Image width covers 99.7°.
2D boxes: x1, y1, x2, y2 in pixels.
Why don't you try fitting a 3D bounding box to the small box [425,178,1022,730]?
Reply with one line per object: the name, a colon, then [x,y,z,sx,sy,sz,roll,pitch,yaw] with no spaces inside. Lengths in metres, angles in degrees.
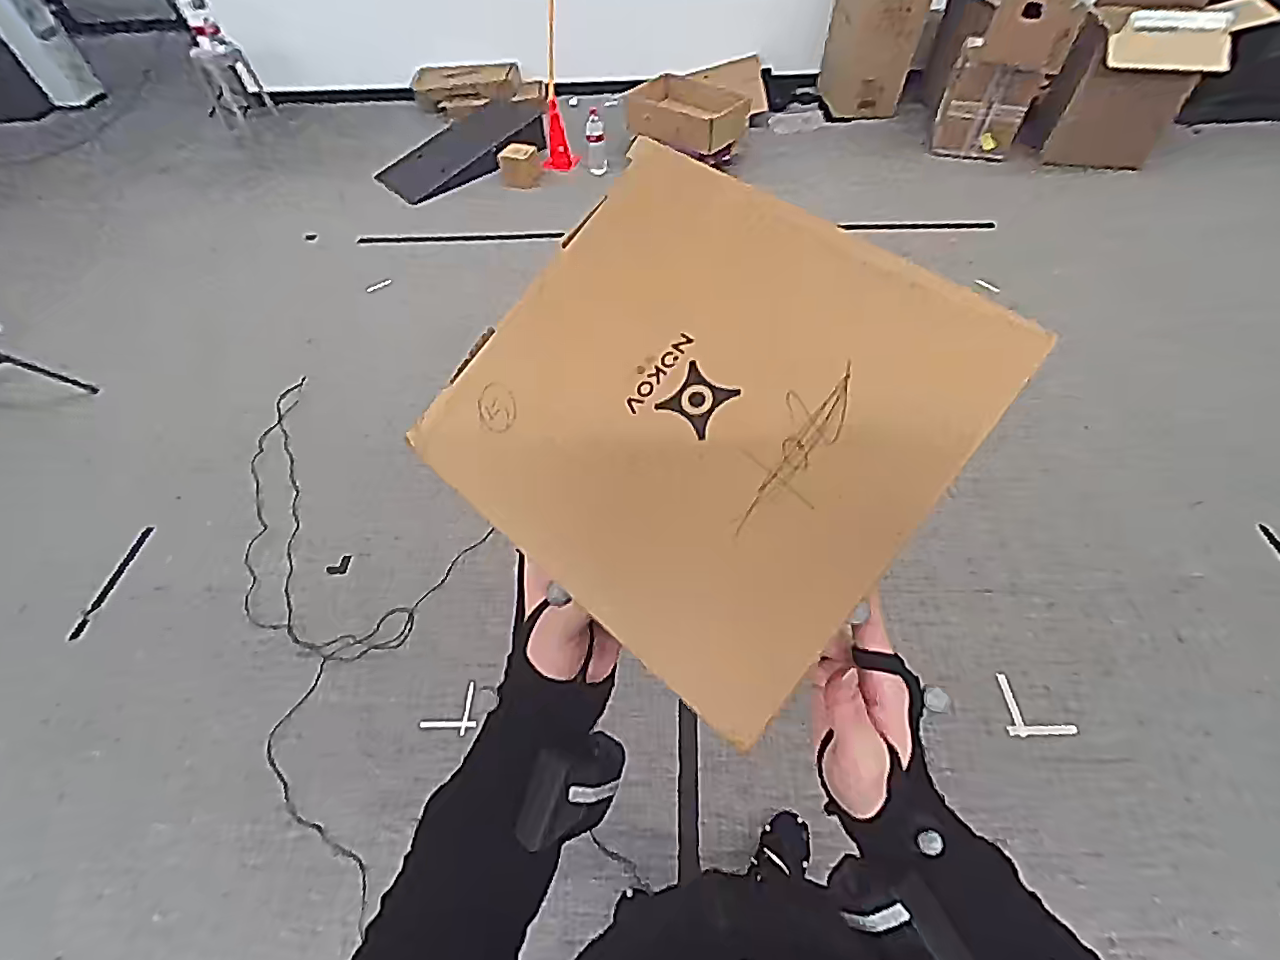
small box: [0.037,-0.006,0.285,0.179,0.176,0.168,37,87,19]
